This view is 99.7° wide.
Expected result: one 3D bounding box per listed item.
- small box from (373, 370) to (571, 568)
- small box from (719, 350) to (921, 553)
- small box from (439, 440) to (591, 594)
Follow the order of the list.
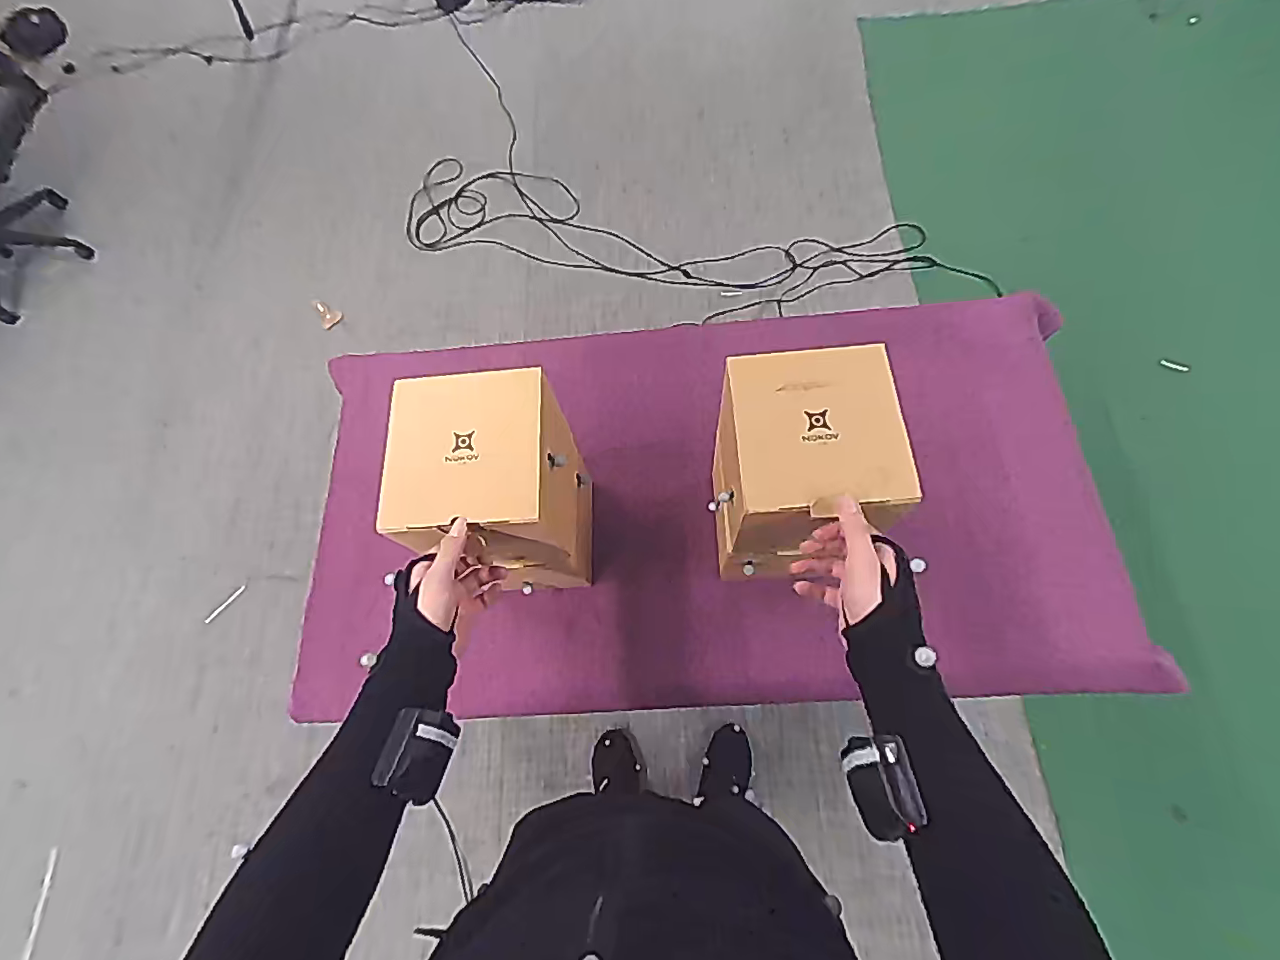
[{"bbox_3d":[-0.177,-0.005,0.624,0.168,0.176,0.179,-4,69,2],"label":"small box"},{"bbox_3d":[0.180,-0.020,0.600,0.168,0.176,0.179,-3,68,3],"label":"small box"},{"bbox_3d":[-0.165,0.059,0.773,0.168,0.176,0.179,-3,69,4],"label":"small box"}]
